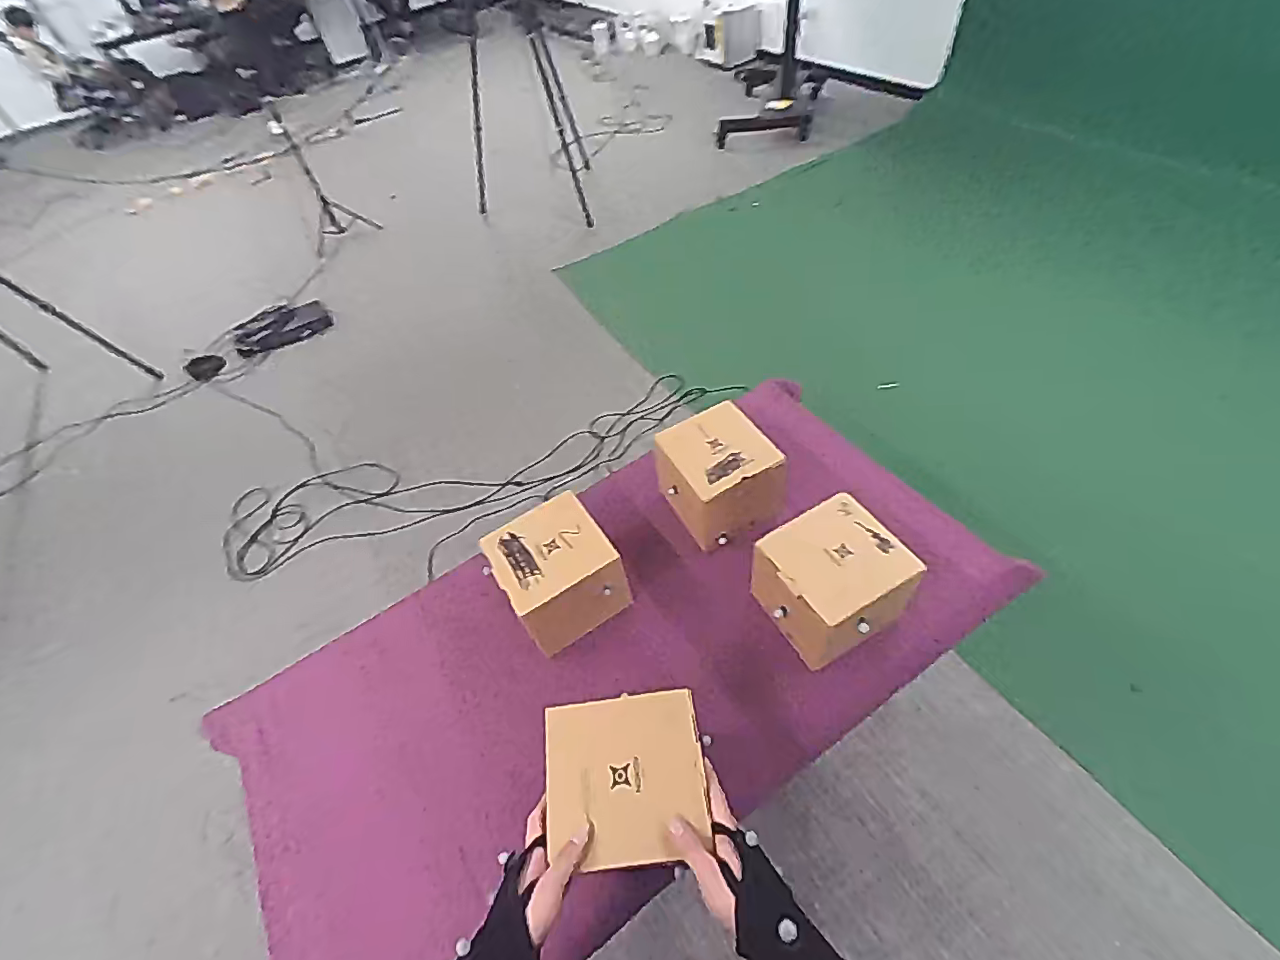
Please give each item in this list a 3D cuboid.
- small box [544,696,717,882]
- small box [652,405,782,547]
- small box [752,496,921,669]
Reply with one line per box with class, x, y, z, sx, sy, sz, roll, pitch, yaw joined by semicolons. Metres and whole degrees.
small box;-0.007;0.371;0.646;0.179;0.176;0.168;-8;53;3
small box;0.139;0.000;0.995;0.168;0.176;0.179;-26;52;-12
small box;0.293;0.163;0.841;0.179;0.176;0.168;-27;52;-12
